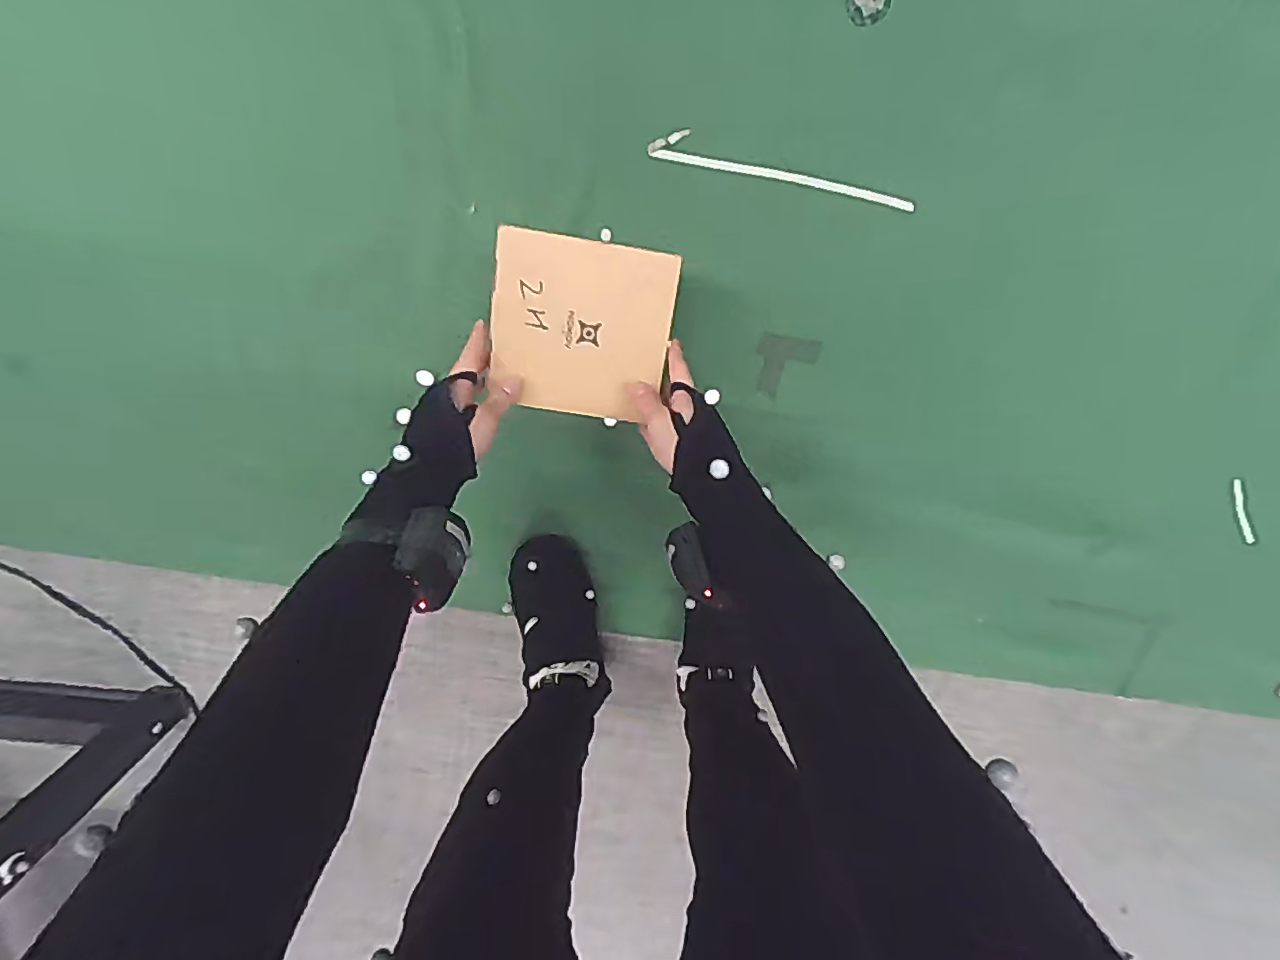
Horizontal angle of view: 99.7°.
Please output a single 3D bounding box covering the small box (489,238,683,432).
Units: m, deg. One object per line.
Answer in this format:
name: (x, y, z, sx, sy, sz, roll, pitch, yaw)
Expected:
small box: (-0.058, -0.165, 0.611, 0.179, 0.176, 0.168, 9, 109, -3)
